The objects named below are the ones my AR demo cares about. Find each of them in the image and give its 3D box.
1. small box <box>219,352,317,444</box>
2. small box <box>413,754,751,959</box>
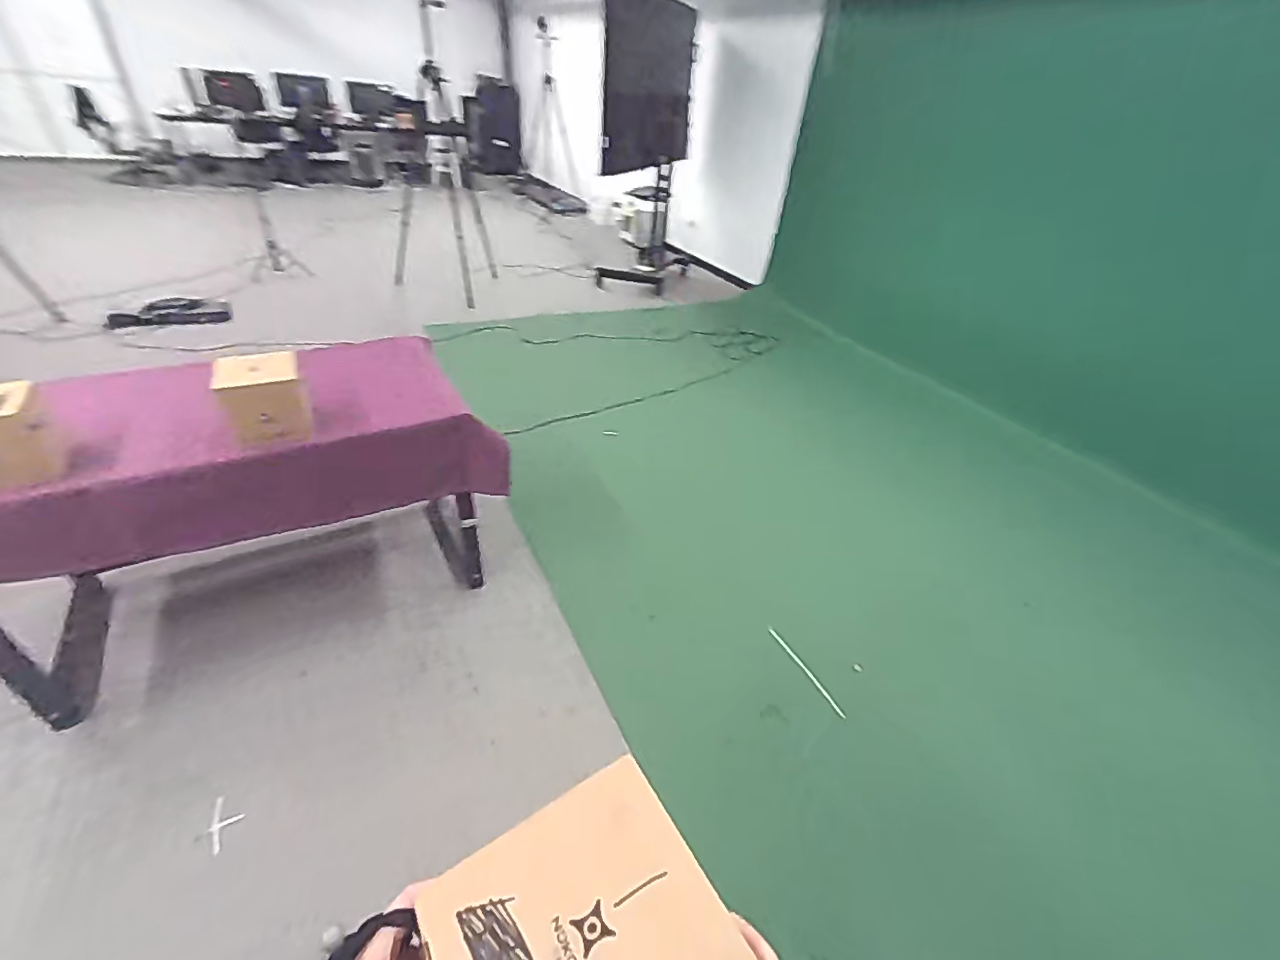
[{"bbox_3d":[-0.931,-0.203,1.367,0.168,0.176,0.179,-13,40,-25],"label":"small box"},{"bbox_3d":[-0.037,0.354,0.395,0.179,0.176,0.168,-22,41,-24],"label":"small box"}]
